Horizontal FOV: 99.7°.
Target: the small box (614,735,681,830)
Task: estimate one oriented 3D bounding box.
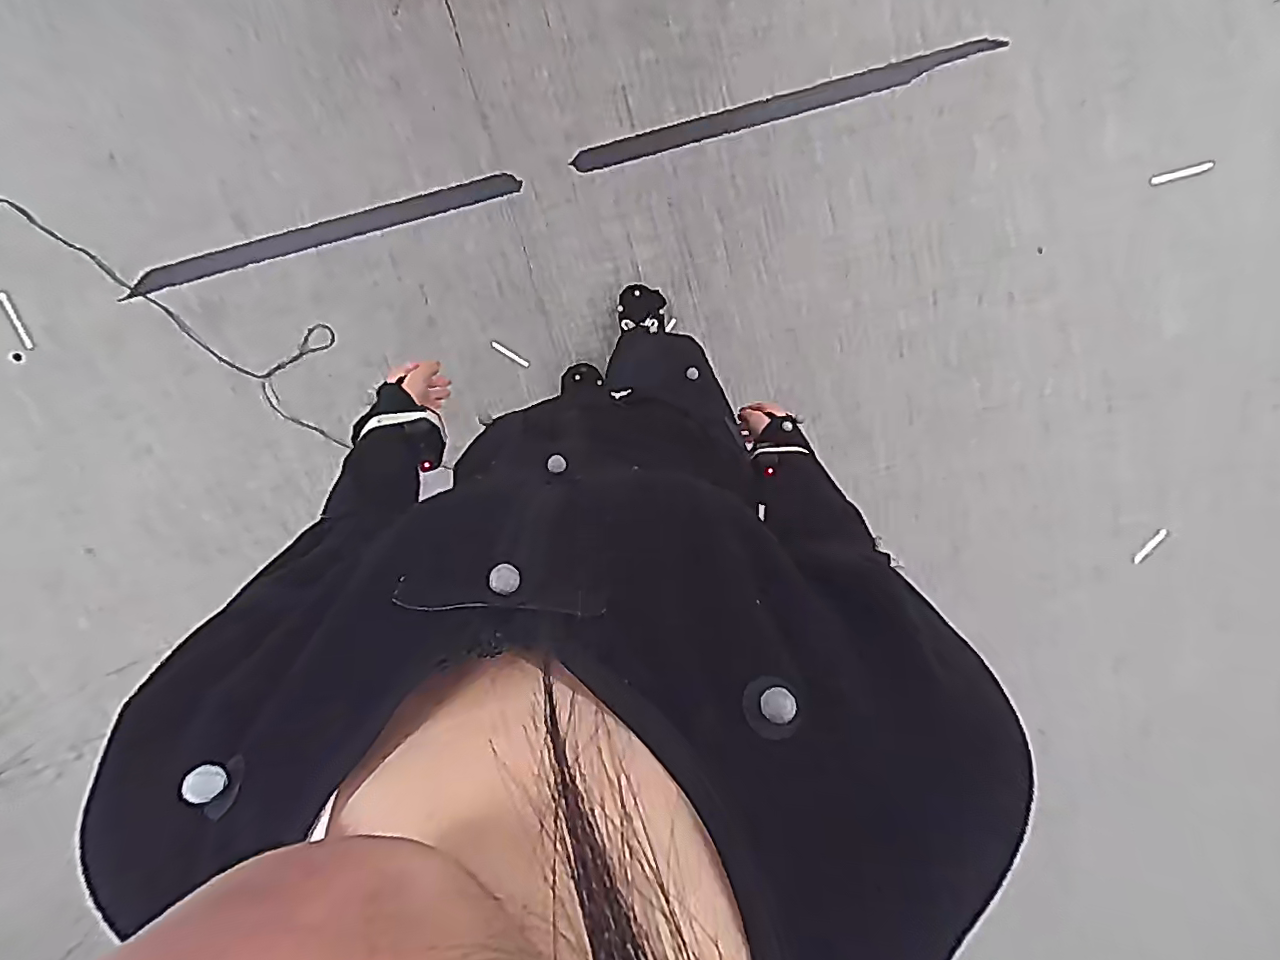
[{"bbox_3d":[0.023,0.934,1.679,0.168,0.176,0.179,-16,106,2],"label":"small box"}]
